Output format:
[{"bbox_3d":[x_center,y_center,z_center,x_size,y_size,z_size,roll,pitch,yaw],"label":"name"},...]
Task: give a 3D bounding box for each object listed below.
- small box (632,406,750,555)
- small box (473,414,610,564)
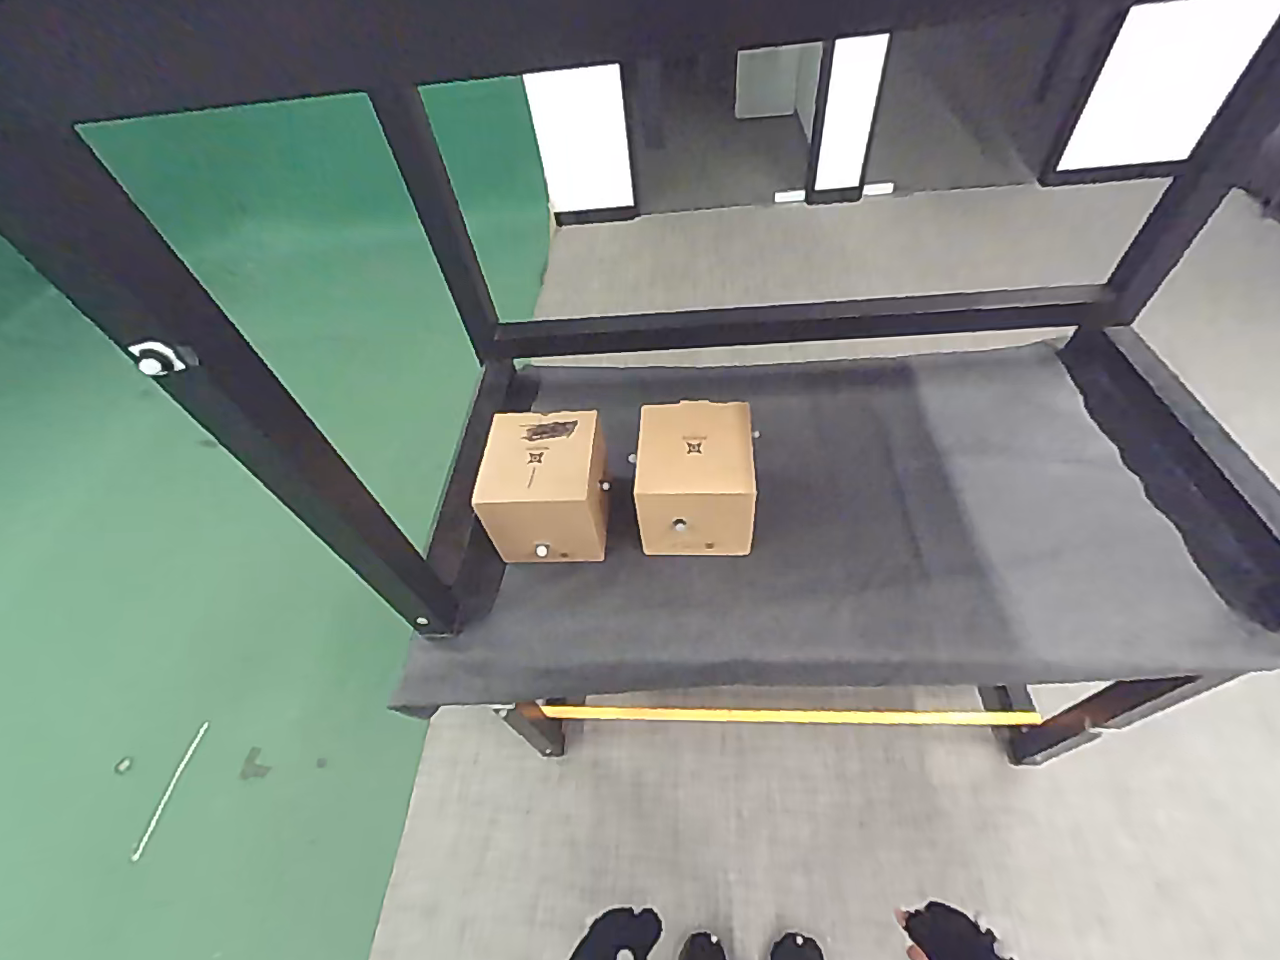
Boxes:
[{"bbox_3d":[0.083,0.005,0.847,0.168,0.176,0.179,0,51,6],"label":"small box"},{"bbox_3d":[-0.143,0.015,0.862,0.168,0.176,0.179,-1,52,6],"label":"small box"}]
